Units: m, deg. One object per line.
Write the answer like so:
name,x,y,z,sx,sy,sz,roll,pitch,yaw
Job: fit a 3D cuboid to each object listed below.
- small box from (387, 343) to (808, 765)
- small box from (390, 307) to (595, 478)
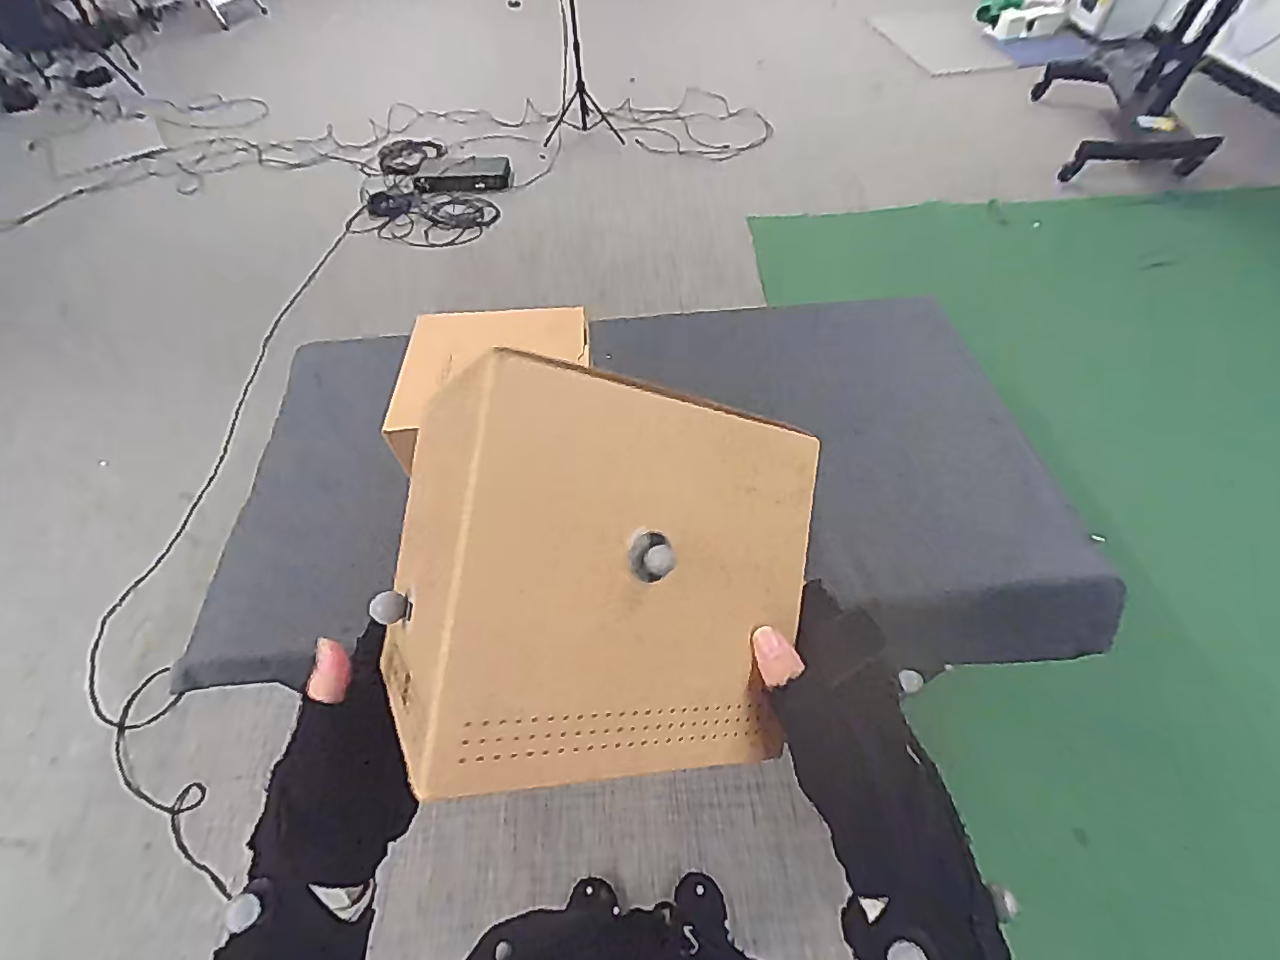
small box,-0.032,0.040,0.315,0.179,0.168,0.176,10,85,-31
small box,-0.133,-0.063,0.582,0.179,0.176,0.168,-4,52,0
